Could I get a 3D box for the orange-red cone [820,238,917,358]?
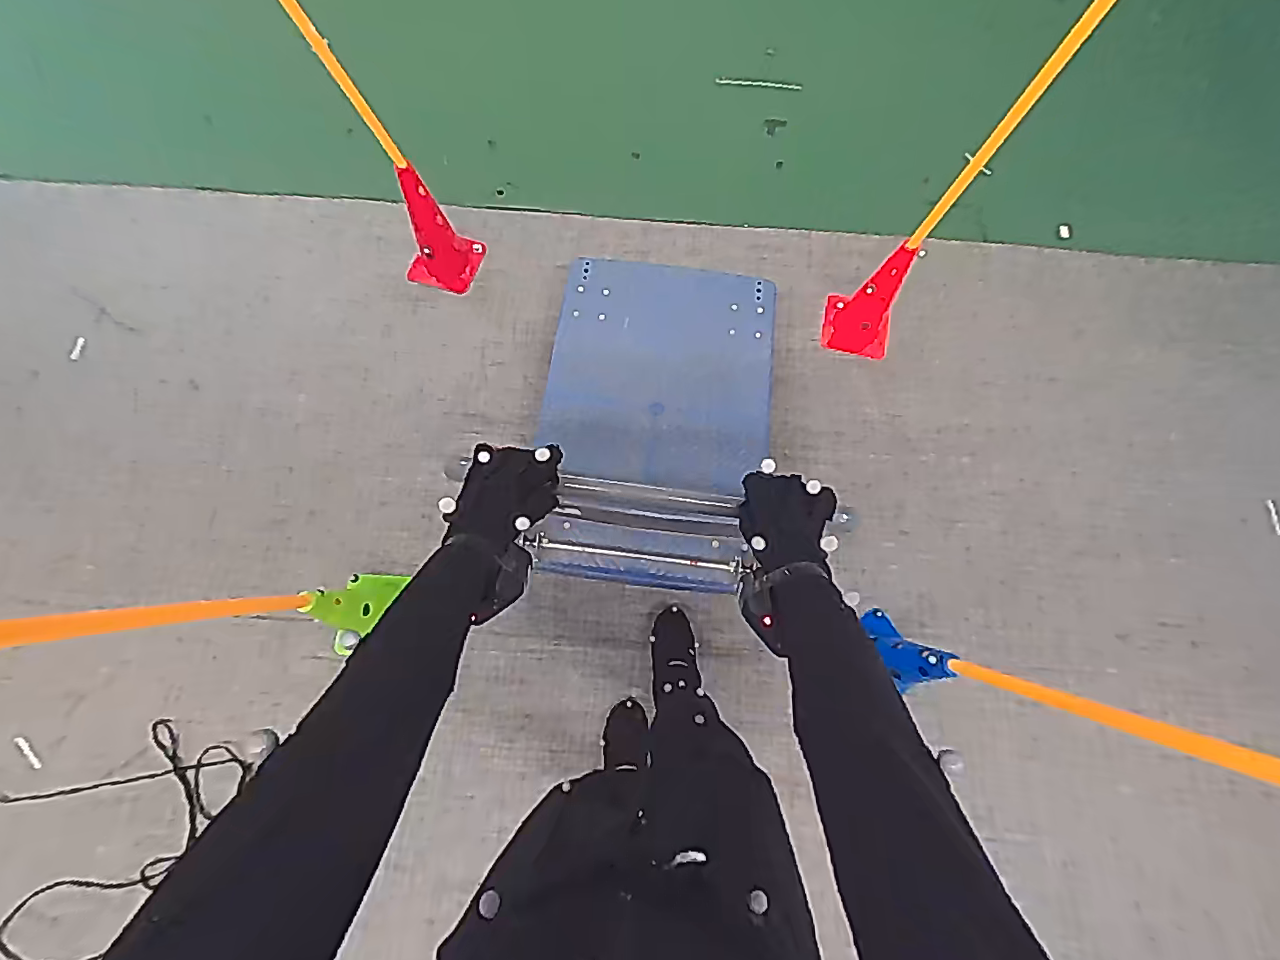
[{"bbox_3d":[0.666,-0.527,1.503,0.198,0.360,0.199,14,73,4],"label":"orange-red cone"}]
